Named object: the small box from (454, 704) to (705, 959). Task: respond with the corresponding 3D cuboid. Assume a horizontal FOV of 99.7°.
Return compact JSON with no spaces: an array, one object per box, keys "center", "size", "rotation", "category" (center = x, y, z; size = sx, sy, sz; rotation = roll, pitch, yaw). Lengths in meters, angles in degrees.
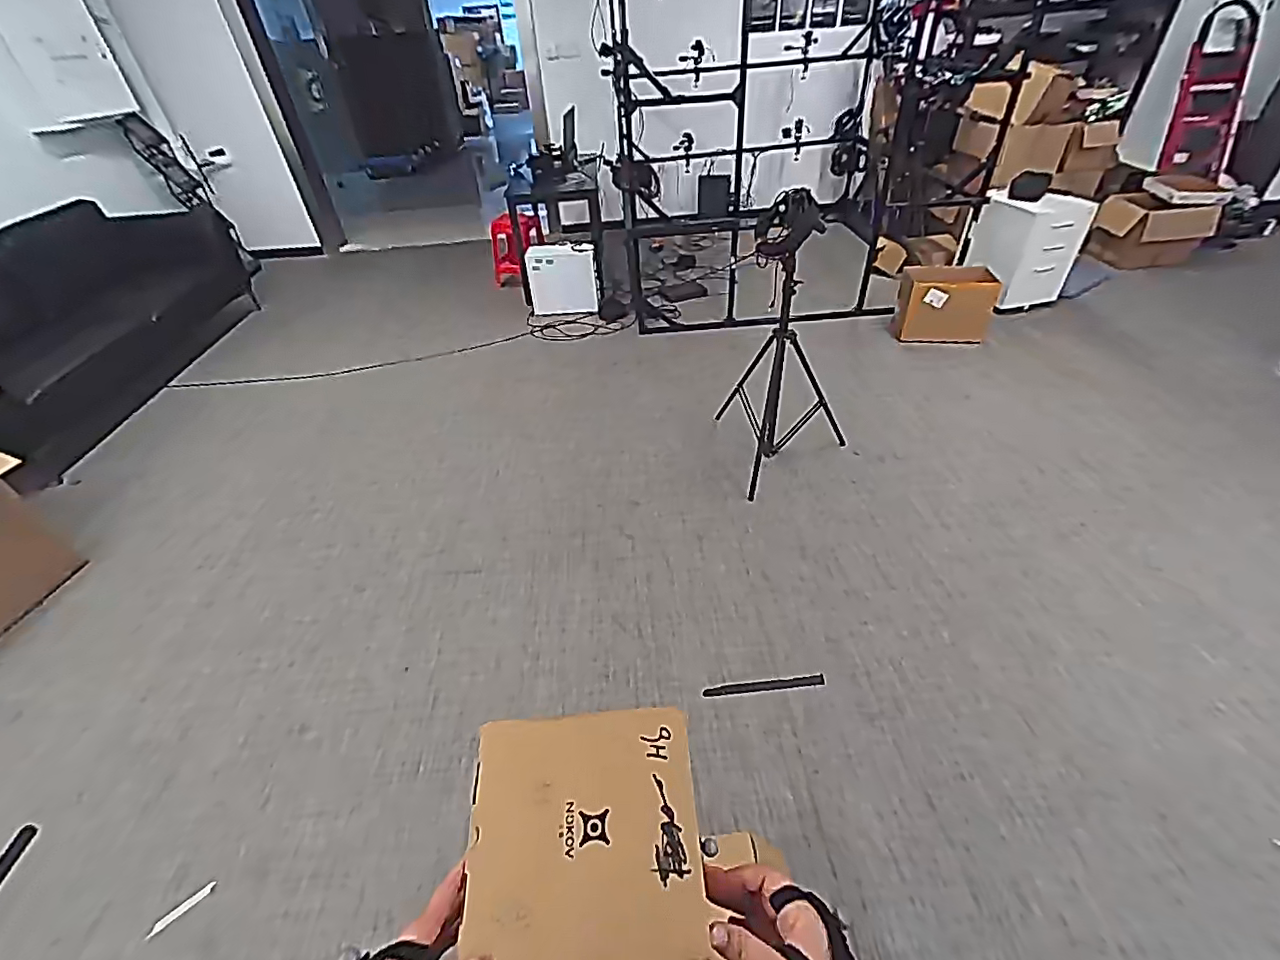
[{"center":[-0.041,0.313,0.477],"size":[0.179,0.176,0.168],"rotation":[-4,51,0],"category":"small box"}]
